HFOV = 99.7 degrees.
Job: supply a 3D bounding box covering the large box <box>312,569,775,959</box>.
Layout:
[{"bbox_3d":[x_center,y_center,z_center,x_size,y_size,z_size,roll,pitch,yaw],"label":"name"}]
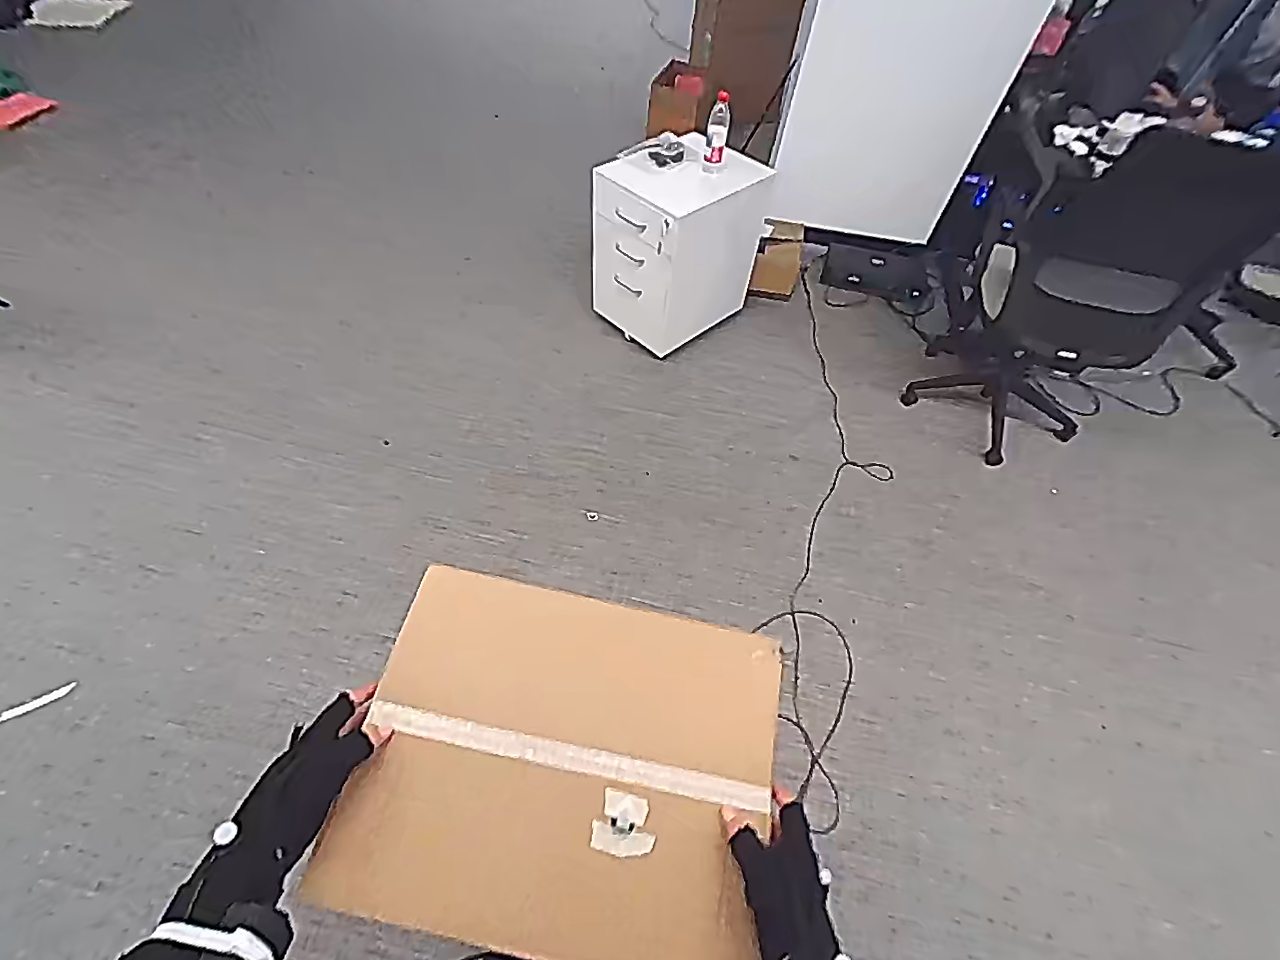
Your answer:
[{"bbox_3d":[-0.082,0.339,0.672,0.408,0.320,0.320,12,63,2],"label":"large box"}]
